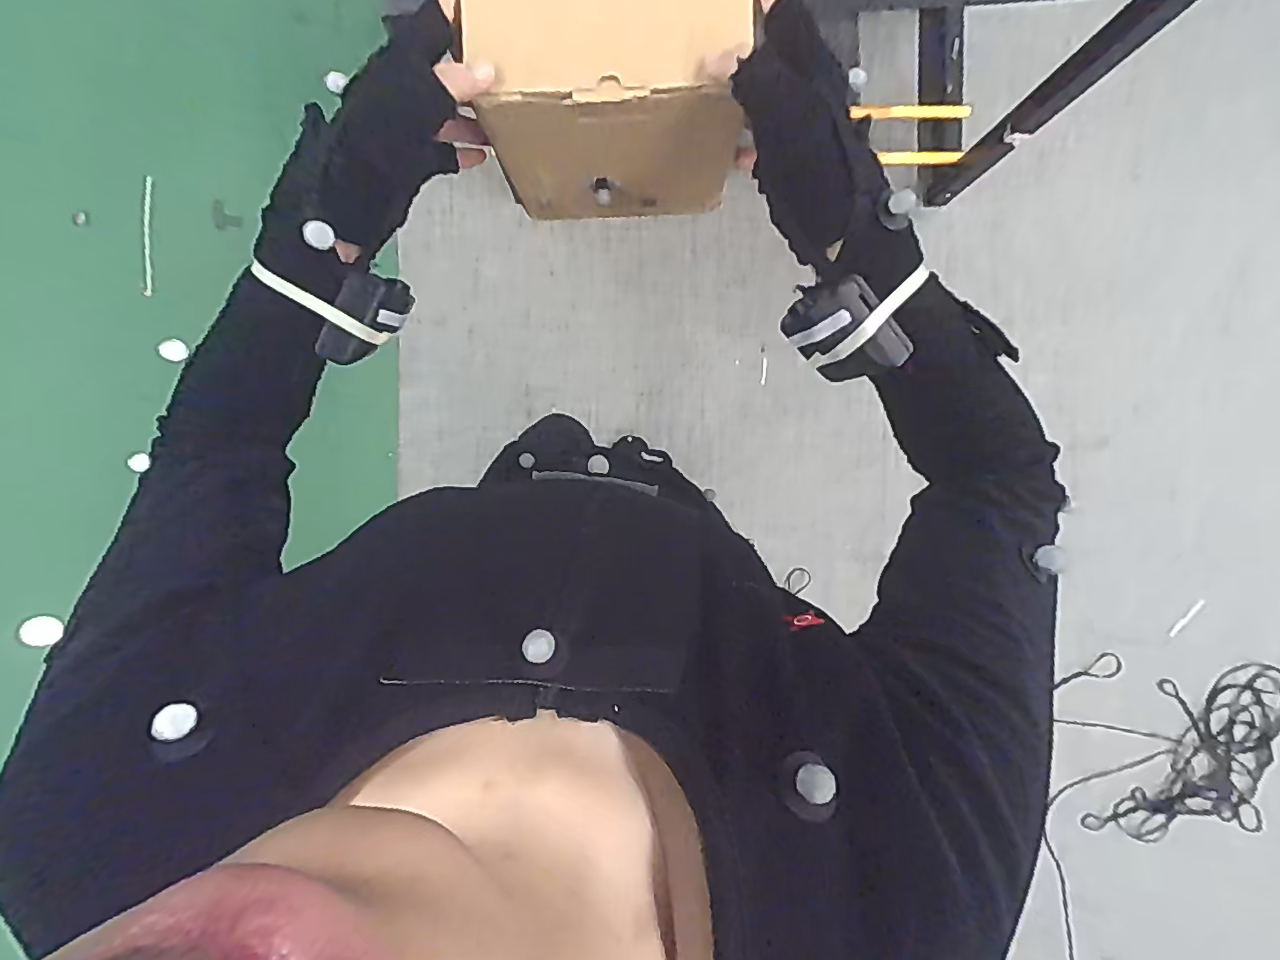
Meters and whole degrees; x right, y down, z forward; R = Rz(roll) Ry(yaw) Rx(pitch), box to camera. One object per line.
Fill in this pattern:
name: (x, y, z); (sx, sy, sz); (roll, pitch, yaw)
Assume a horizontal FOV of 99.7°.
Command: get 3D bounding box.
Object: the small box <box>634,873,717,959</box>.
small box: (0.089, 1.189, 1.431); (0.179, 0.176, 0.168); (15, 91, -1)
